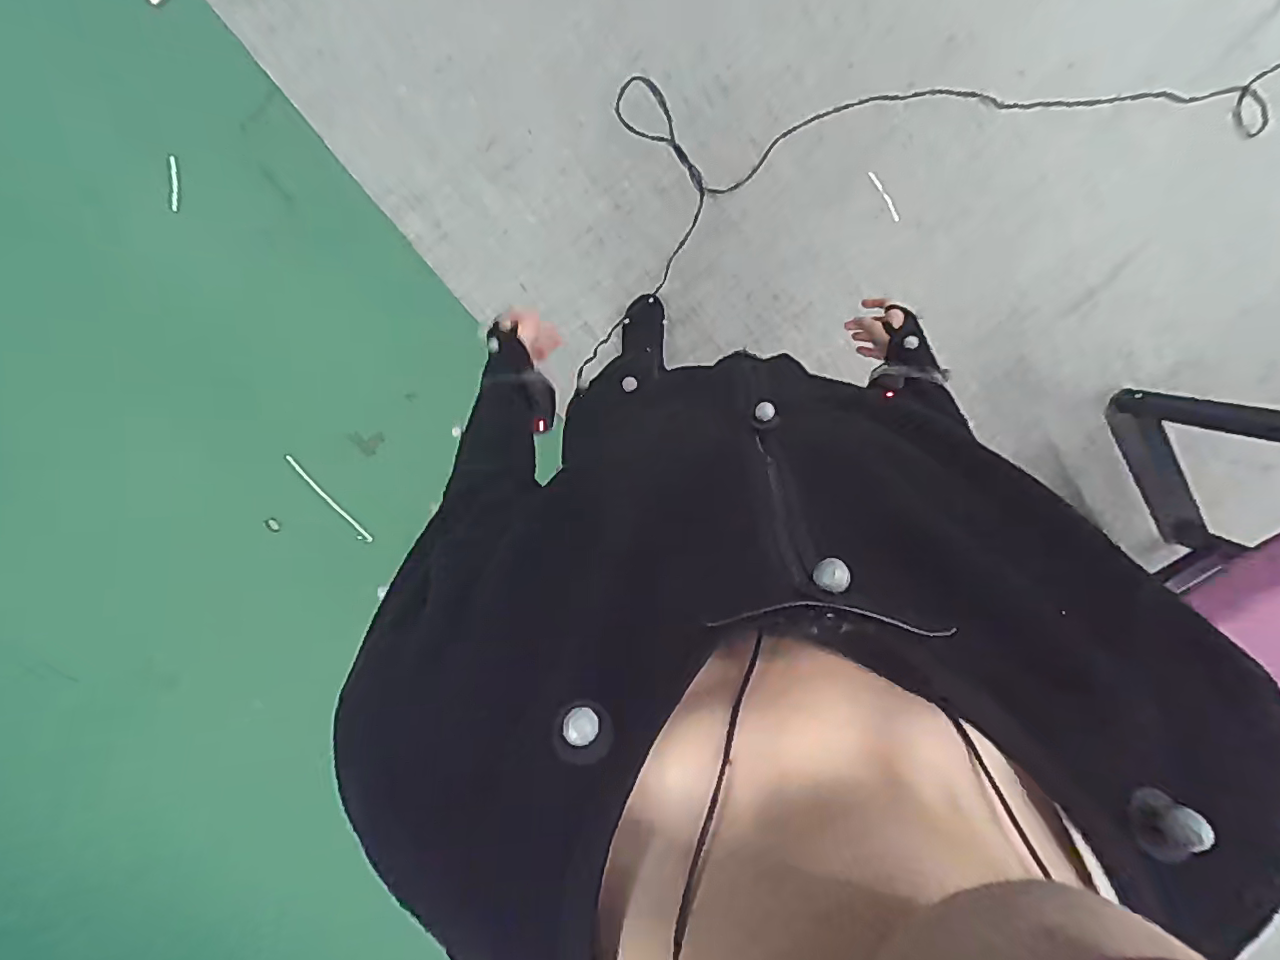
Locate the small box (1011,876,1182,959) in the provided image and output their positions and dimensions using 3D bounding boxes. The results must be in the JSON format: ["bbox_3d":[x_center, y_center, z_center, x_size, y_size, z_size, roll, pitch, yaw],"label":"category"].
[{"bbox_3d":[0.682,0.714,0.761,0.168,0.176,0.179,-39,106,7],"label":"small box"}]

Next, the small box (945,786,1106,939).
[{"bbox_3d":[0.667,0.668,0.916,0.168,0.176,0.179,-37,106,7],"label":"small box"}]
